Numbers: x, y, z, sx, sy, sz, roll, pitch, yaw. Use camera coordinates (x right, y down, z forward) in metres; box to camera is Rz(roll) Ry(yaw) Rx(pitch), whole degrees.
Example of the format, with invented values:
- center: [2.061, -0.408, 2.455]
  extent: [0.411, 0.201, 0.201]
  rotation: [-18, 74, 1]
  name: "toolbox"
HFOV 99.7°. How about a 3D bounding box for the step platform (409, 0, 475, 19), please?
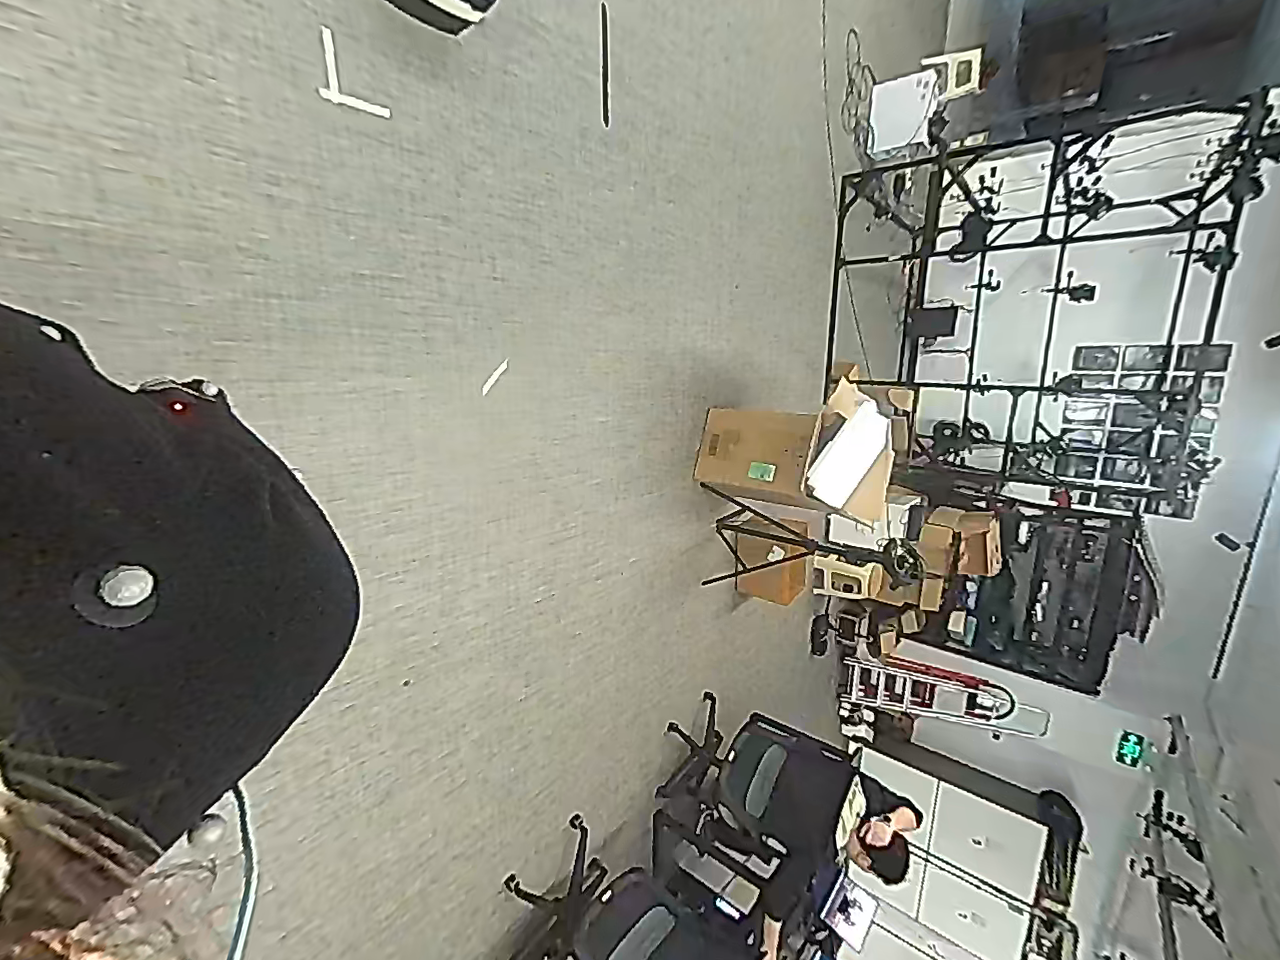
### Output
- center: [-0.523, -1.581, 1.312]
  extent: [0.286, 0.204, 0.684]
  rotation: [-5, 101, -51]
  name: "step platform"
